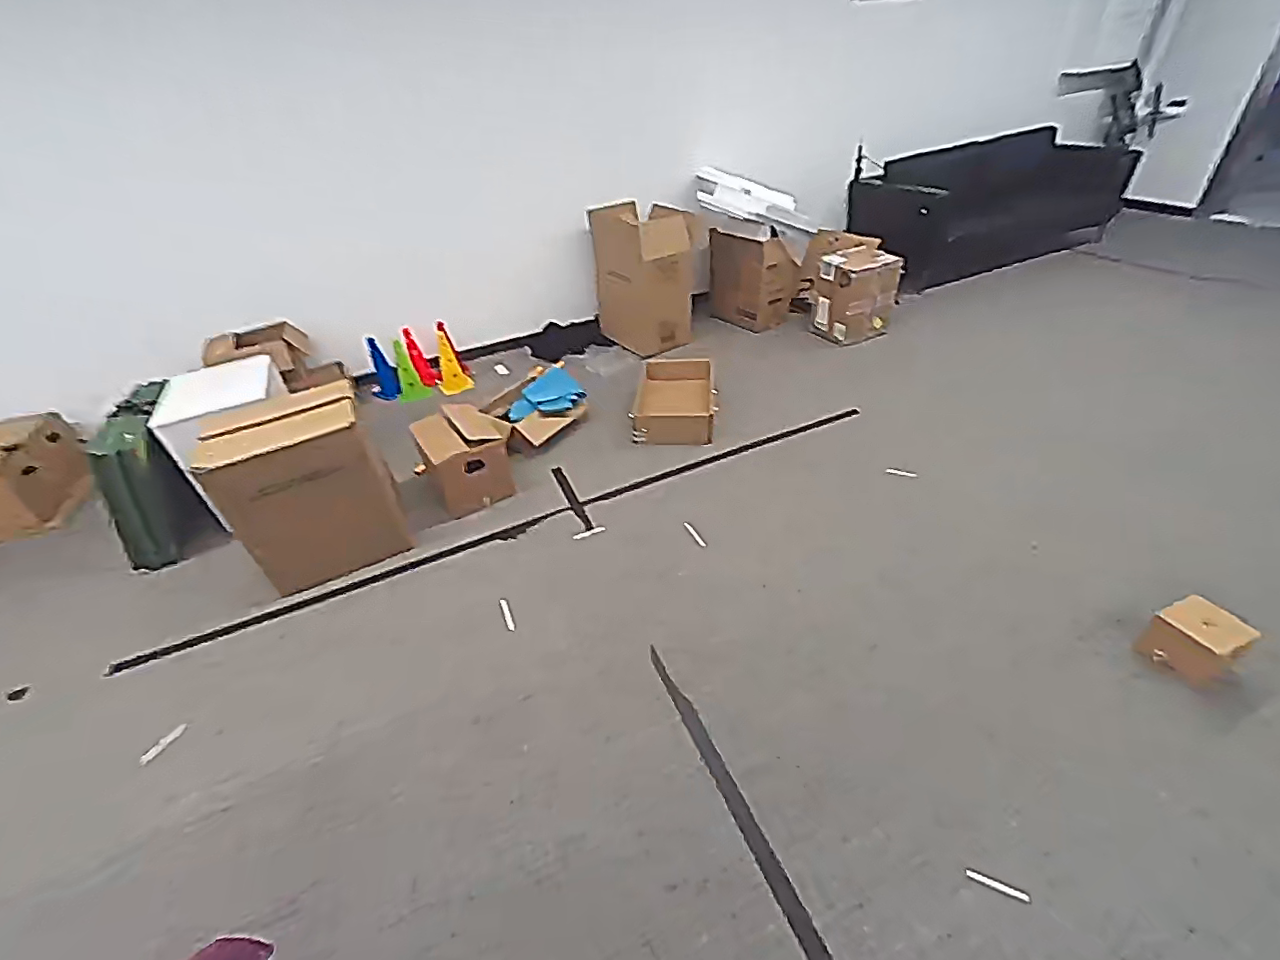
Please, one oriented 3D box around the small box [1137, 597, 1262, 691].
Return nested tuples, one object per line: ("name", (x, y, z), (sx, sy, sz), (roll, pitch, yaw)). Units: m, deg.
("small box", (1.630, 0.482, 1.588), (0.179, 0.176, 0.168), (-18, 37, -14))
